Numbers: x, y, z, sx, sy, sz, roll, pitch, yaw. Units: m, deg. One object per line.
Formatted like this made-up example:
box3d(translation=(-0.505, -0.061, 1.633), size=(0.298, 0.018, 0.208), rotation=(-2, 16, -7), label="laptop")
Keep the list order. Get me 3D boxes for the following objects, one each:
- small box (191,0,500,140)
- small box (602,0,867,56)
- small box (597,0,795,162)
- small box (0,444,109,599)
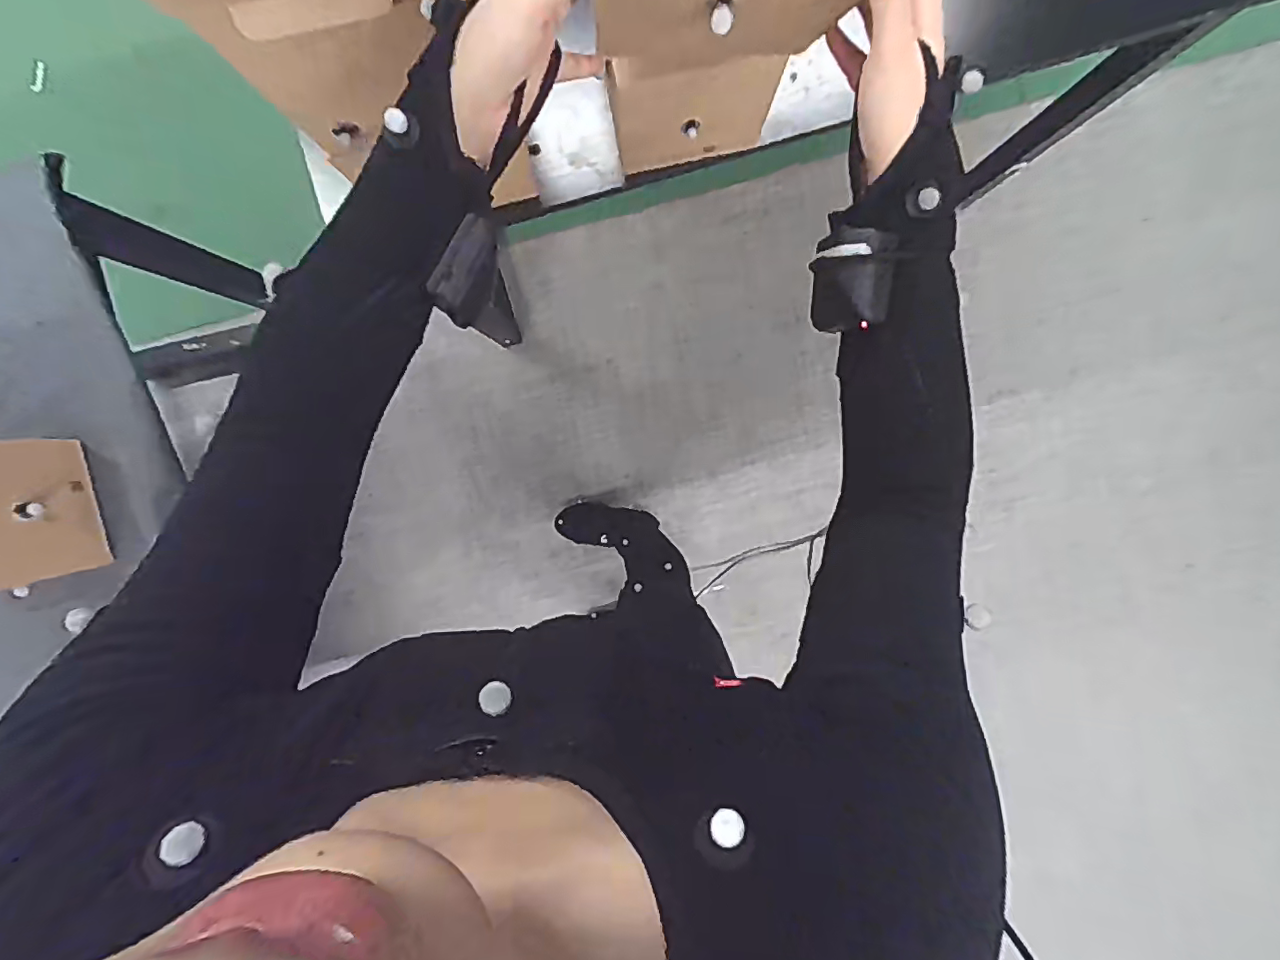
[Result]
box3d(translation=(-0.219, -0.392, 0.409), size=(0.168, 0.176, 0.179), rotation=(-12, 94, 1), label="small box")
box3d(translation=(0.061, -0.396, 0.346), size=(0.179, 0.176, 0.168), rotation=(-3, 116, -1), label="small box")
box3d(translation=(0.048, -0.463, 0.564), size=(0.168, 0.176, 0.179), rotation=(-11, 94, 1), label="small box")
box3d(translation=(-0.771, 0.055, 0.618), size=(0.179, 0.176, 0.168), rotation=(-11, 95, 3), label="small box")
